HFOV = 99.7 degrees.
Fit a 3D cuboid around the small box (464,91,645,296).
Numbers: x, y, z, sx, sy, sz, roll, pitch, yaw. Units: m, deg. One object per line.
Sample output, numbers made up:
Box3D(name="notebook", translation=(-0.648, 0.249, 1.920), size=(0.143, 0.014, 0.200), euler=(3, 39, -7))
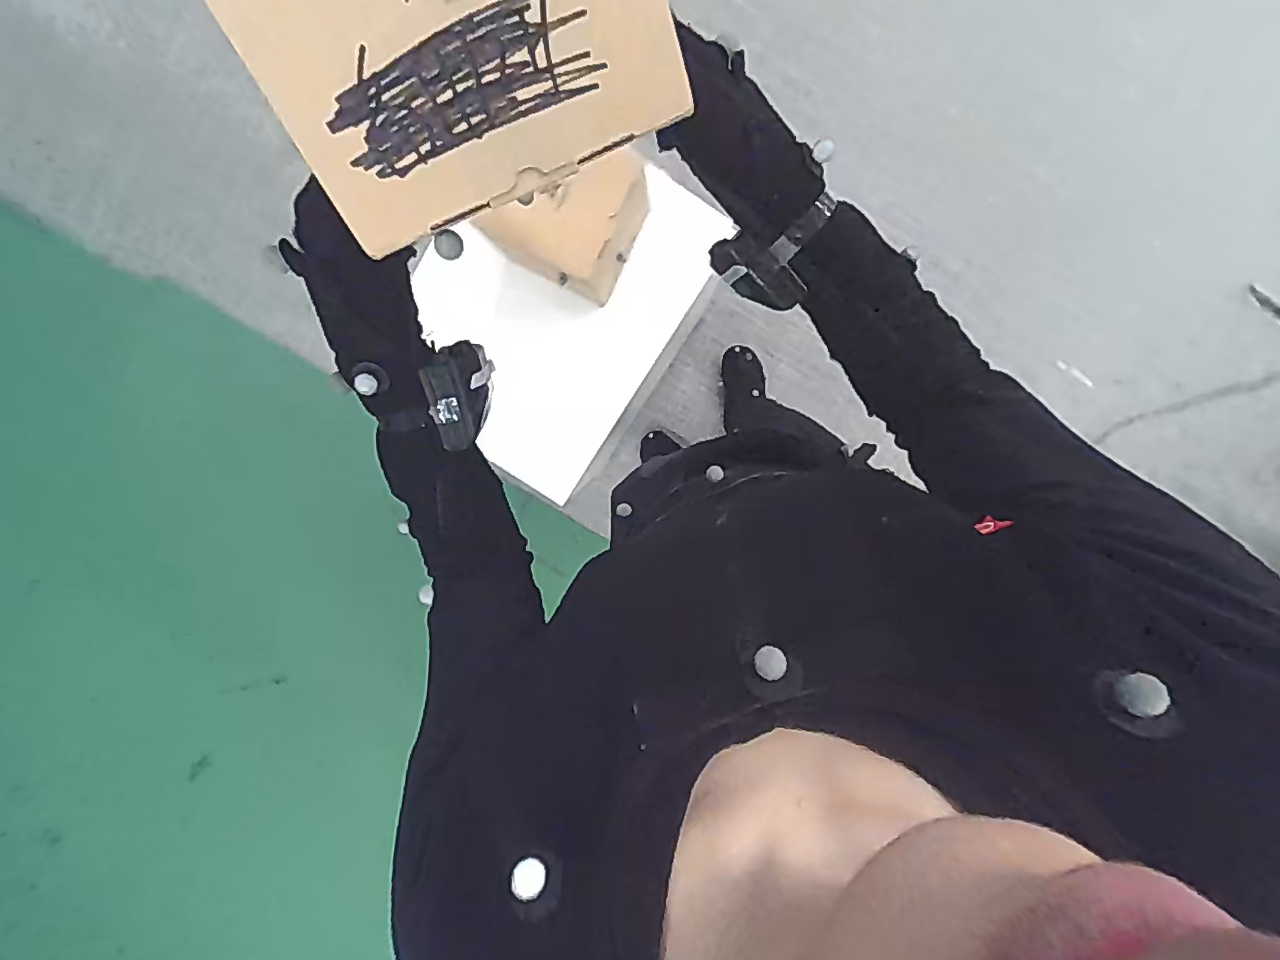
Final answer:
Box3D(name="small box", translation=(-0.106, -0.375, 0.747), size=(0.179, 0.176, 0.168), euler=(26, 99, -1))
